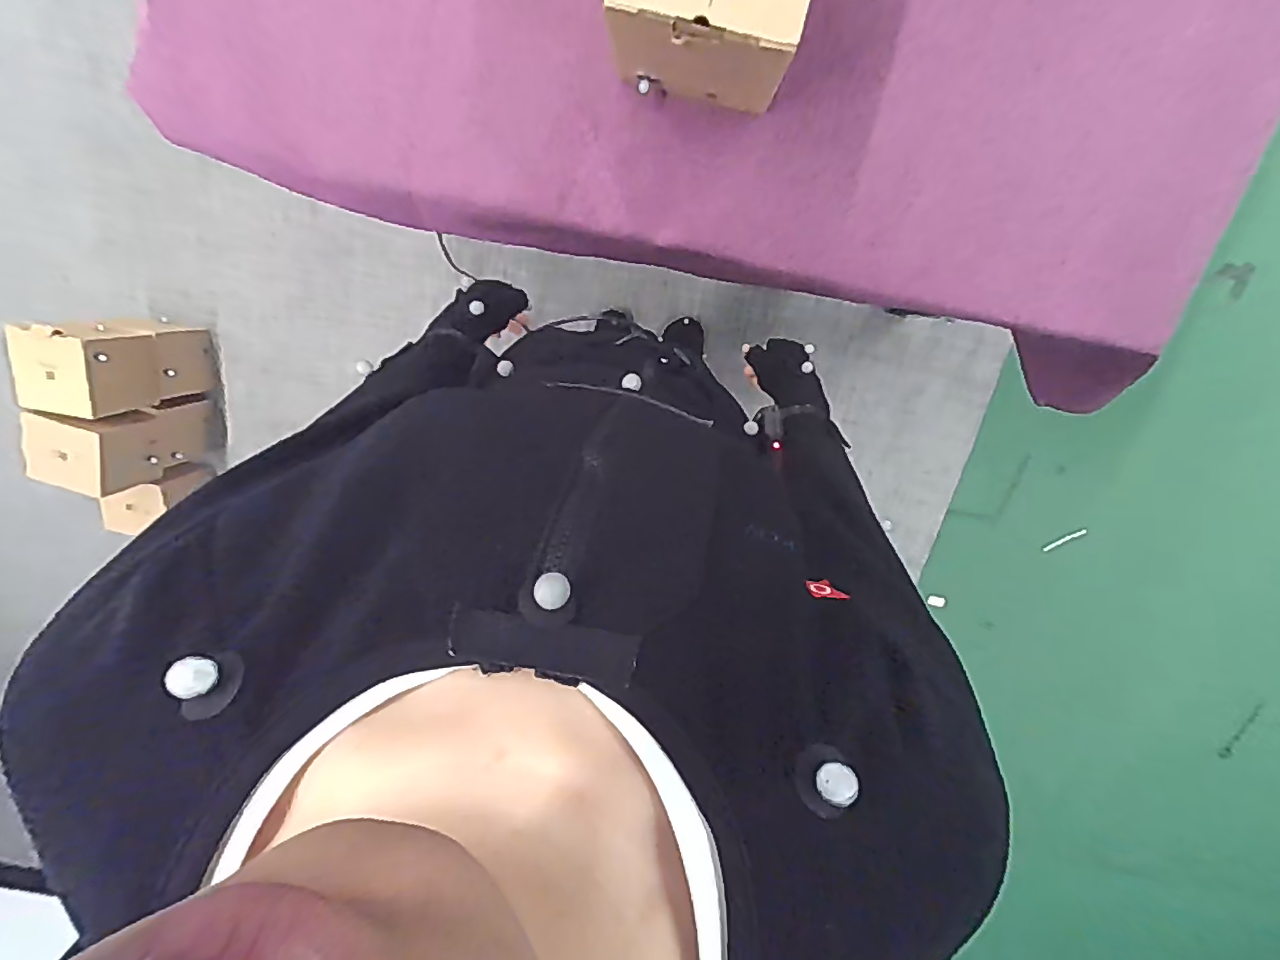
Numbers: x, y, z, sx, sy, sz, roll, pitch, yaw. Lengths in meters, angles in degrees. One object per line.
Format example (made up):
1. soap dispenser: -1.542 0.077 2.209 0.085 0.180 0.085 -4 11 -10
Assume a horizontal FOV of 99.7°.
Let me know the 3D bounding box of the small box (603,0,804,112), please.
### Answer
1. small box: 0.071 -0.476 0.497 0.168 0.176 0.179 13 108 -1
